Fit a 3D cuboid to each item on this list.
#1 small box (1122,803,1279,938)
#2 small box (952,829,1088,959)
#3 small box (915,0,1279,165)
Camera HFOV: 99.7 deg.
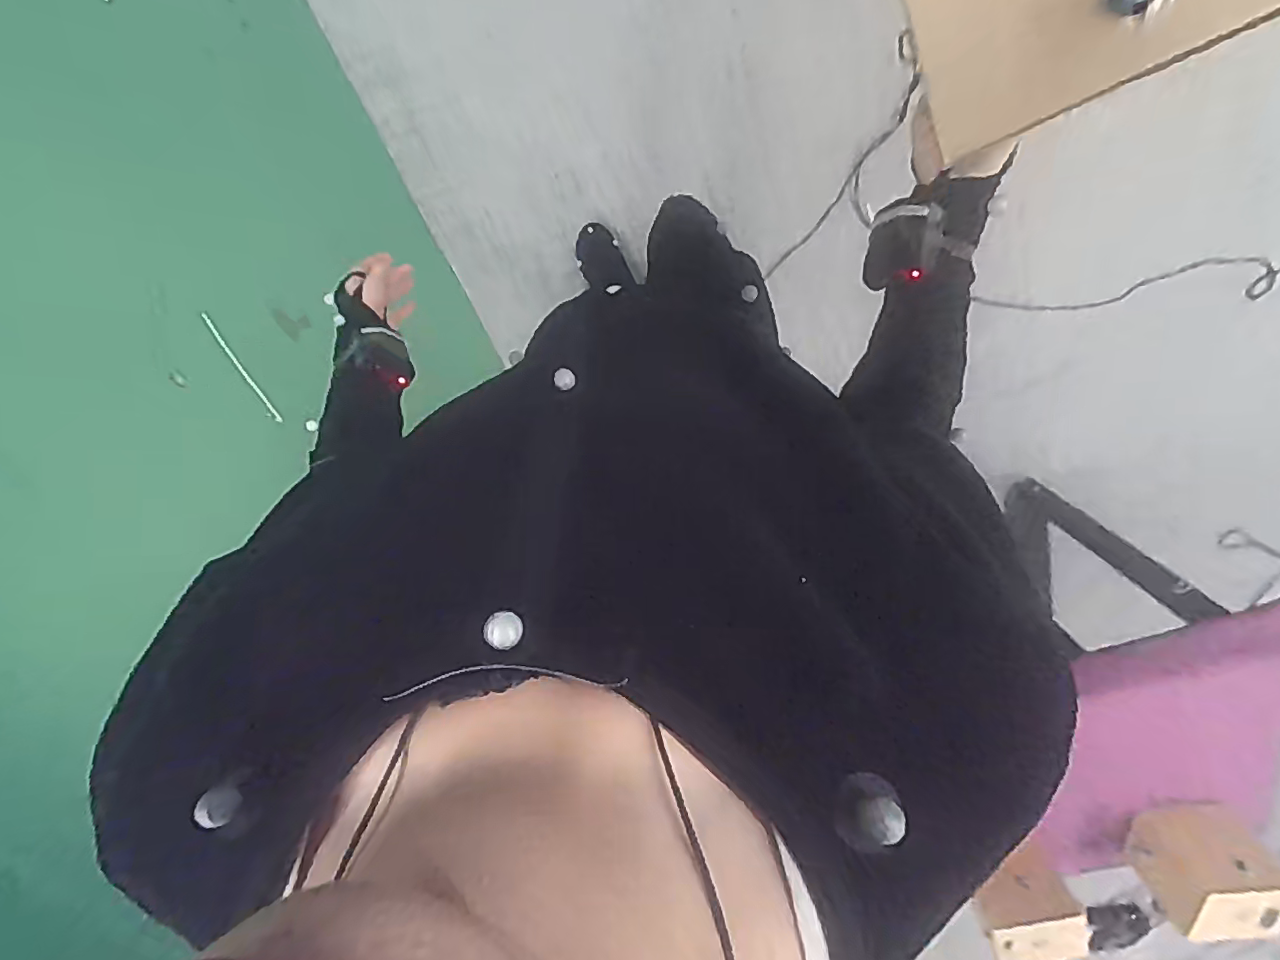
[{"bbox_3d":[1.161,0.794,1.110,0.179,0.176,0.168,-8,115,5],"label":"small box"},{"bbox_3d":[0.806,0.887,1.156,0.179,0.176,0.168,-20,113,8],"label":"small box"},{"bbox_3d":[0.249,-0.313,0.291,0.179,0.168,0.176,-9,122,39],"label":"small box"}]
